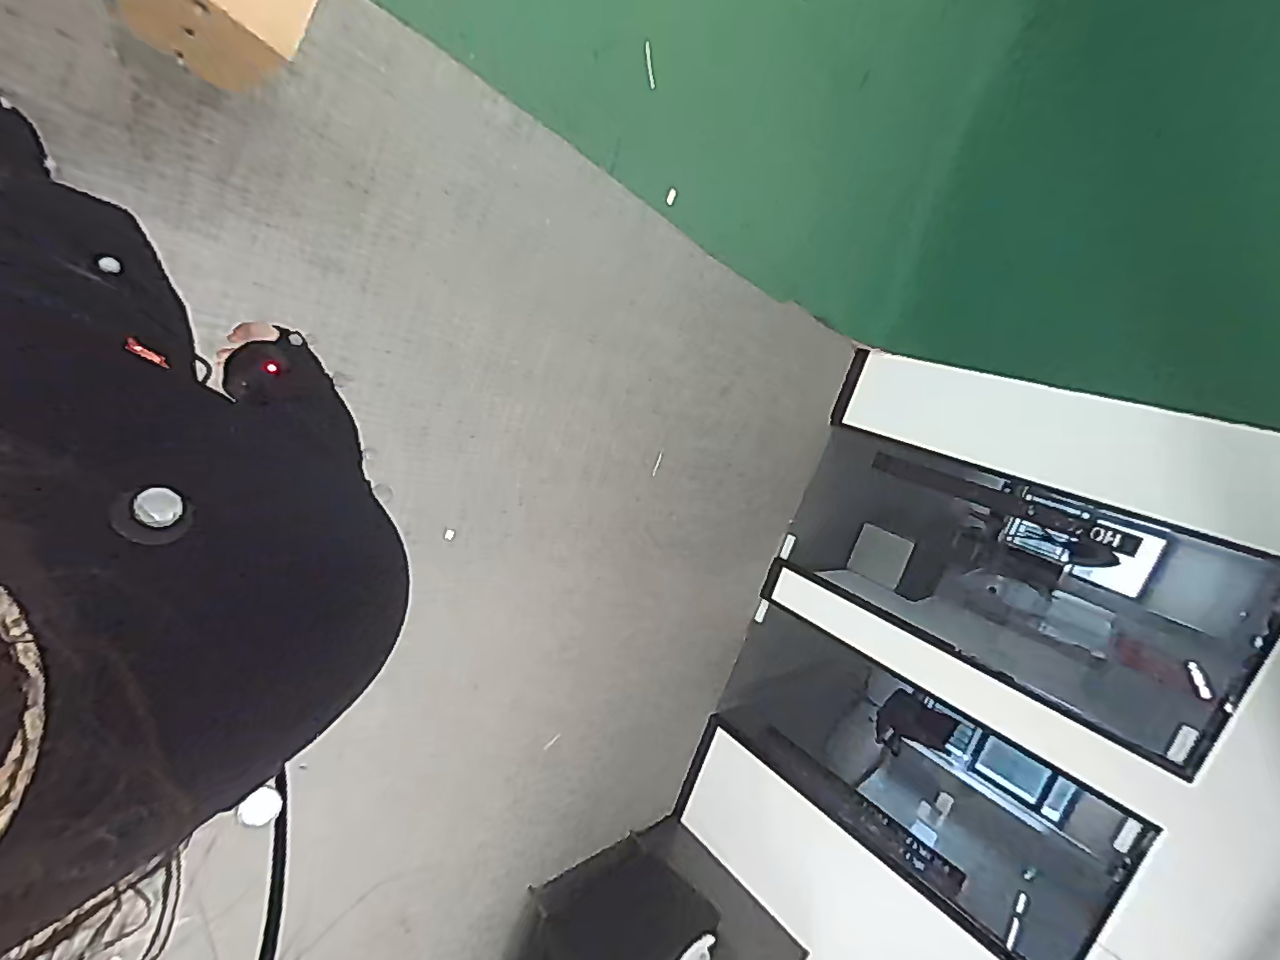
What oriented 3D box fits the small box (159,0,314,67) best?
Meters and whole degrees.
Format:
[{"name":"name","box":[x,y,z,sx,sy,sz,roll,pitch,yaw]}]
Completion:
[{"name":"small box","box":[-0.550,-0.693,0.718,0.179,0.176,0.168,22,95,-50]}]
